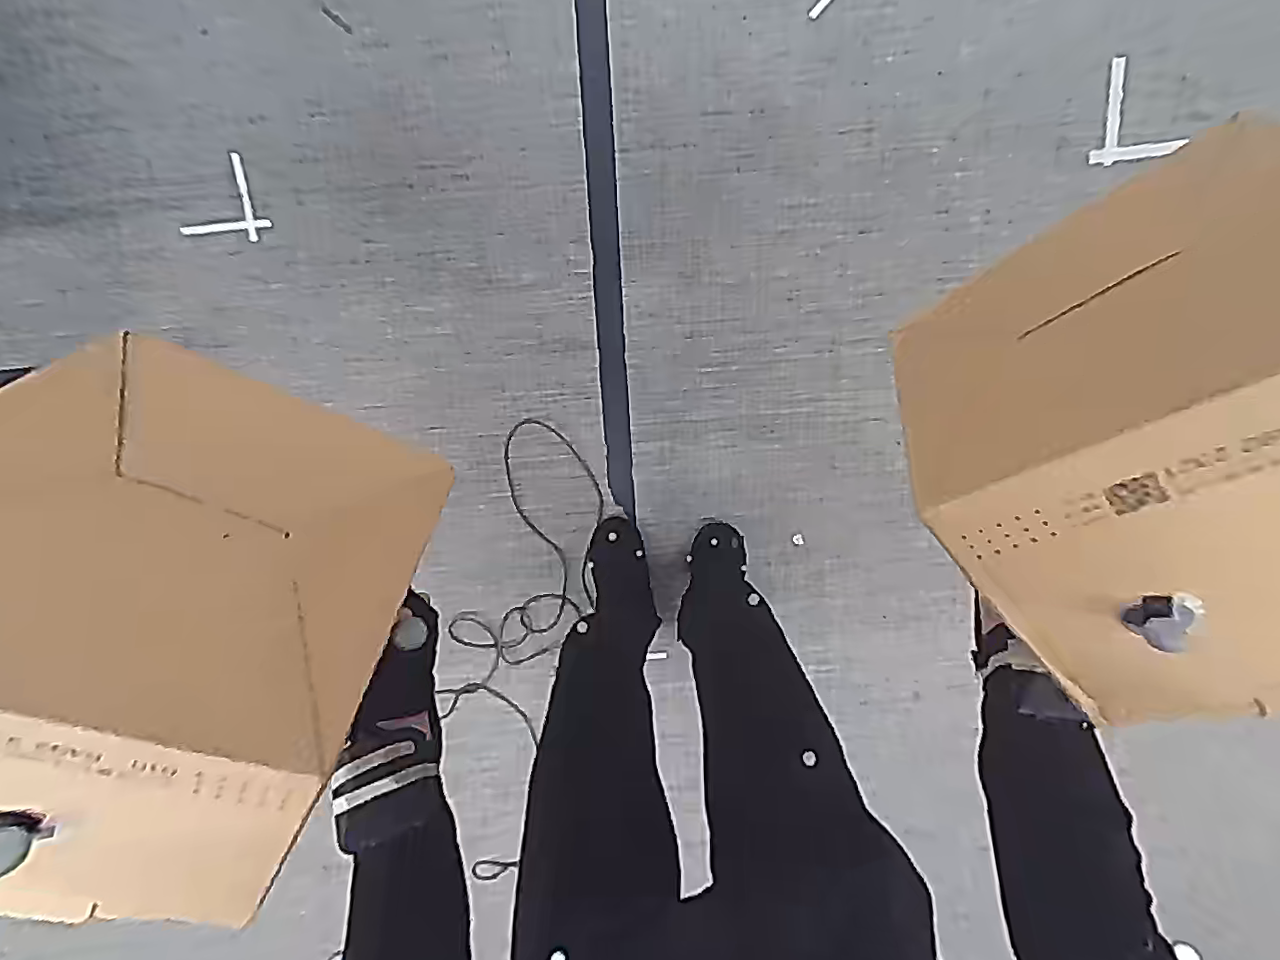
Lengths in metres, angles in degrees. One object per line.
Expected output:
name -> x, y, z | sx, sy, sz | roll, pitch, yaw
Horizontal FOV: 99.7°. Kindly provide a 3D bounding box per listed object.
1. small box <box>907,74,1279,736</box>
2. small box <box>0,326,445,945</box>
small box -> 0.236, -0.027, 0.226 | 0.168, 0.179, 0.176 | -30, 115, 37
small box -> -0.208, 0.060, 0.236 | 0.168, 0.179, 0.176 | 25, 120, -19
